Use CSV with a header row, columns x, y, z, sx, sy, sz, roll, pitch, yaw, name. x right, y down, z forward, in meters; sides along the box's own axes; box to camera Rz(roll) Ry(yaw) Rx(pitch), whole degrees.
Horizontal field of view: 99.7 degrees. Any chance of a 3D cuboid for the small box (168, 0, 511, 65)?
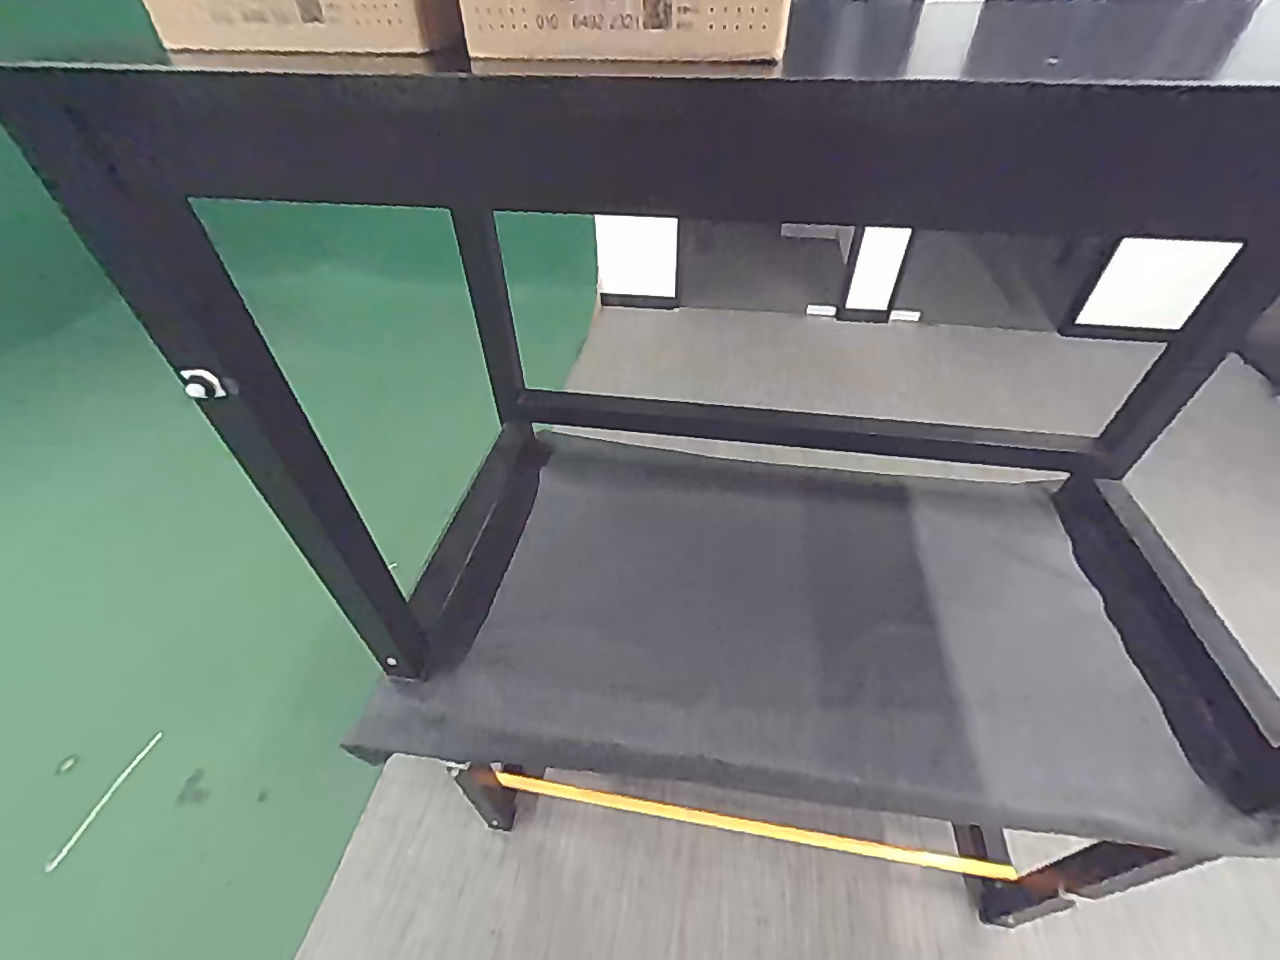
x,y,z,sx,sy,sz,roll,pitch,yaw,name
-0.189,-0.364,0.324,0.168,0.176,0.179,7,44,7,small box
